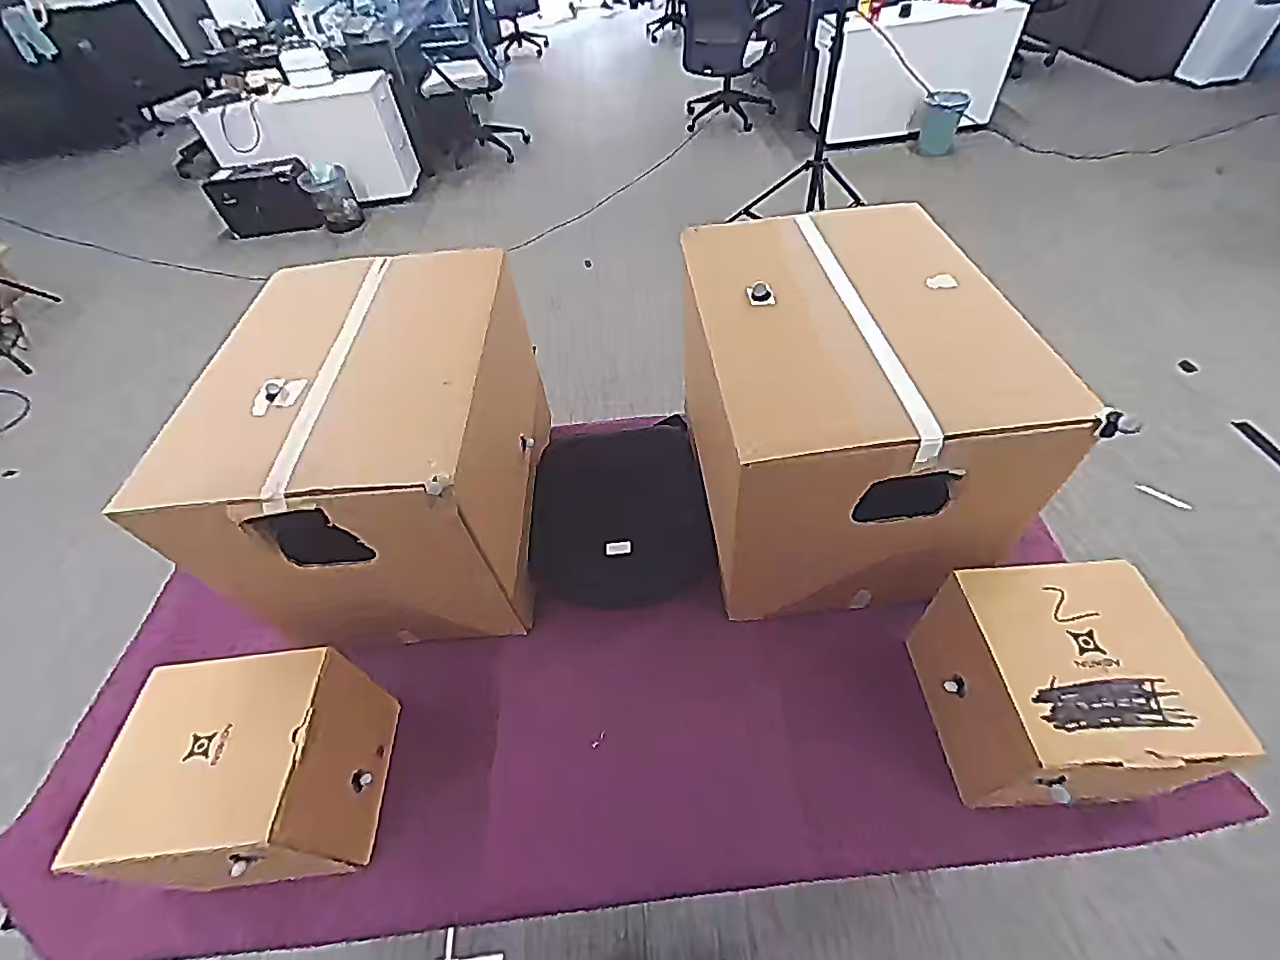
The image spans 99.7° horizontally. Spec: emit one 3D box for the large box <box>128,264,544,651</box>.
[{"bbox_3d":[-0.314,-0.030,0.720,0.320,0.320,0.408,-6,52,2],"label":"large box"}]

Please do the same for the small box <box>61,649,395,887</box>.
[{"bbox_3d":[-0.381,0.293,0.545,0.179,0.176,0.168,-7,48,-1],"label":"small box"}]
